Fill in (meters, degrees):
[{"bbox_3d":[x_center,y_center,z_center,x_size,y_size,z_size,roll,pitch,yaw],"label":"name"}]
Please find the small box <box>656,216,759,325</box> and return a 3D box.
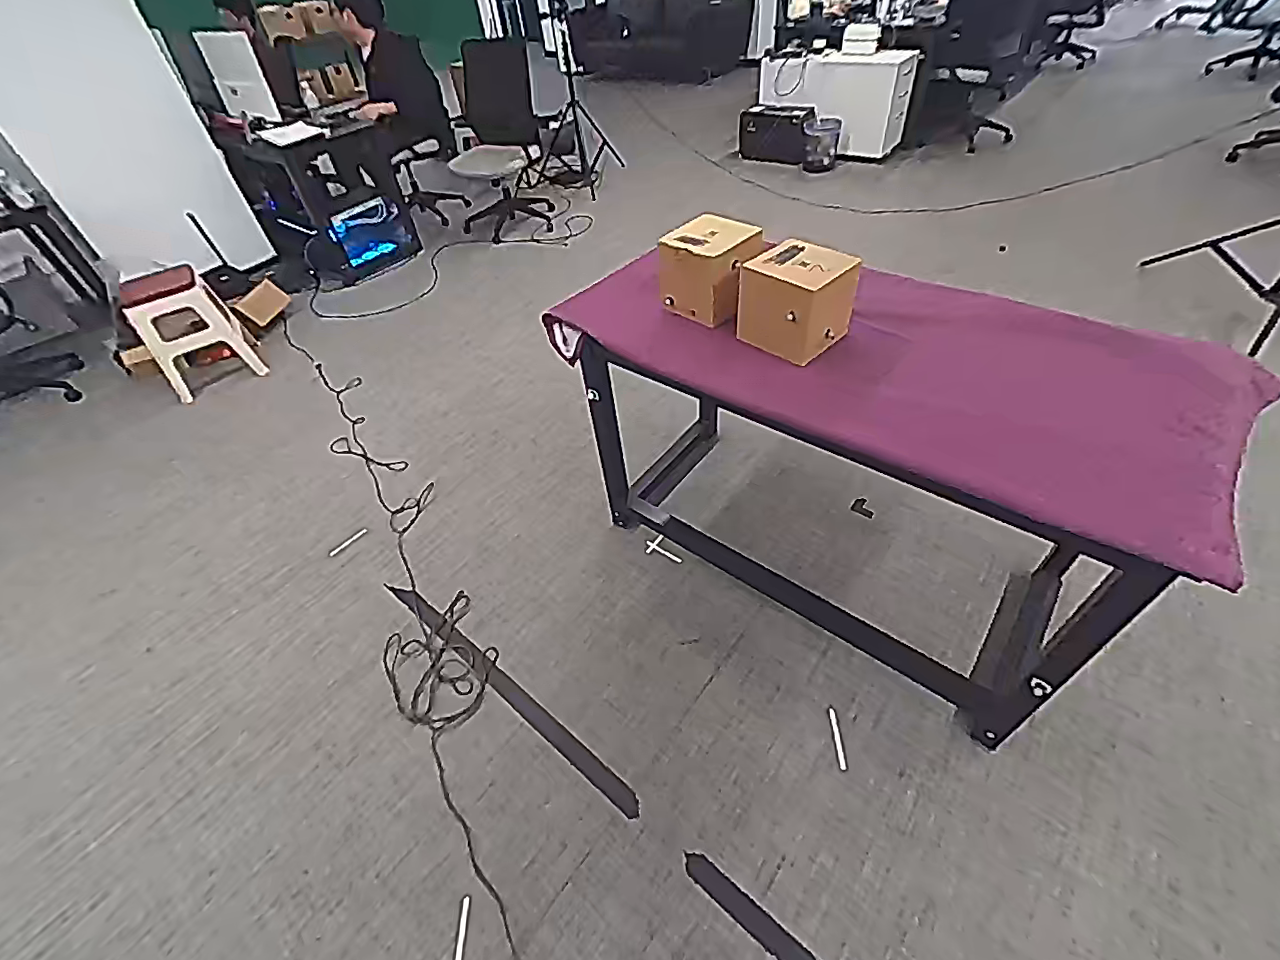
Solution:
[{"bbox_3d":[0.160,-0.488,1.264,0.168,0.176,0.179,33,58,32],"label":"small box"}]
